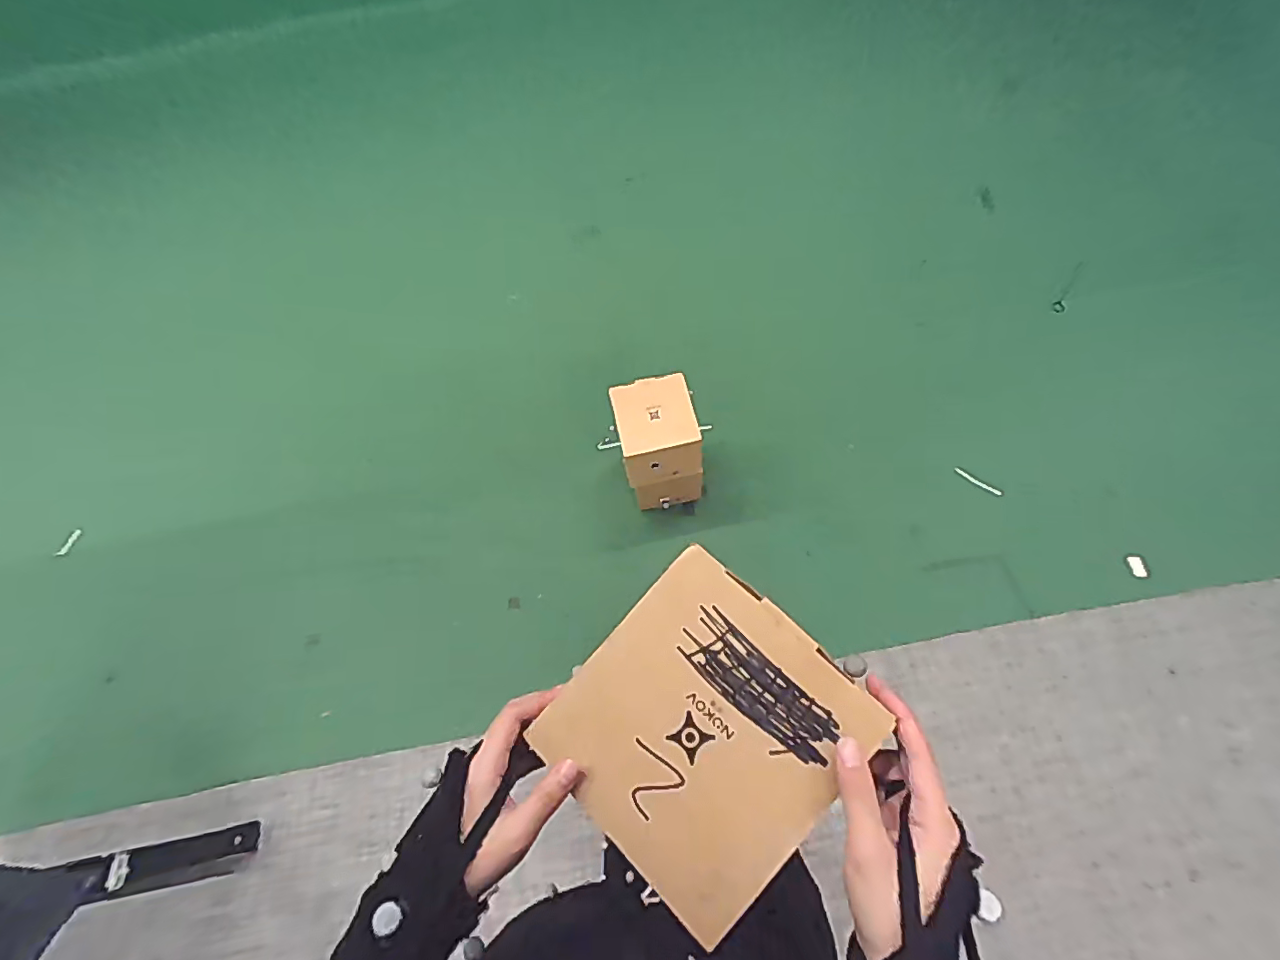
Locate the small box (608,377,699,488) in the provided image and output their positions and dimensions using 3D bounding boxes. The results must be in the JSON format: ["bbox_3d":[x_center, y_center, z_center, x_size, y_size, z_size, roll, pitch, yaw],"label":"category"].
[{"bbox_3d":[0.035,-0.096,1.203,0.168,0.176,0.179,-13,64,-1],"label":"small box"}]

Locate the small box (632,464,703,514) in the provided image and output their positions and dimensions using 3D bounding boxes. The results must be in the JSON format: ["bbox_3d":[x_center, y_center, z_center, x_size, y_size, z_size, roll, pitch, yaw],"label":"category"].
[{"bbox_3d":[0.055,-0.034,1.352,0.168,0.176,0.179,-12,66,0],"label":"small box"}]
